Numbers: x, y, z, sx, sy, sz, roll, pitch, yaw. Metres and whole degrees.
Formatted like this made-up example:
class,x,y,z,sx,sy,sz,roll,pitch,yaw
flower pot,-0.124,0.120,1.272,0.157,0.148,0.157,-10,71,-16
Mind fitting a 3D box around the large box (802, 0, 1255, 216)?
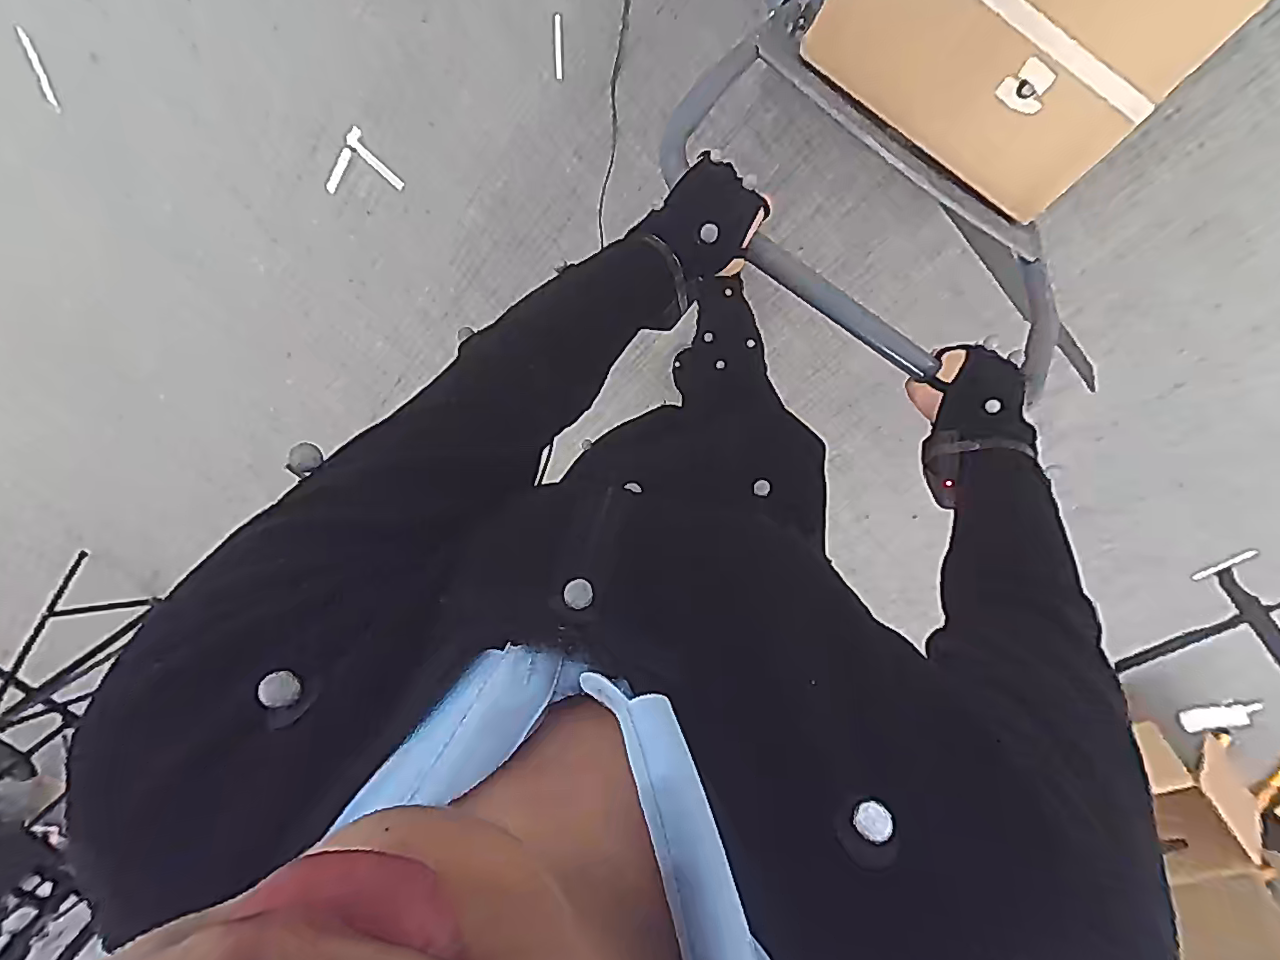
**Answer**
class,x,y,z,sx,sy,sz,roll,pitch,yaw
large box,0.494,-0.659,0.747,0.408,0.320,0.320,32,138,-7
